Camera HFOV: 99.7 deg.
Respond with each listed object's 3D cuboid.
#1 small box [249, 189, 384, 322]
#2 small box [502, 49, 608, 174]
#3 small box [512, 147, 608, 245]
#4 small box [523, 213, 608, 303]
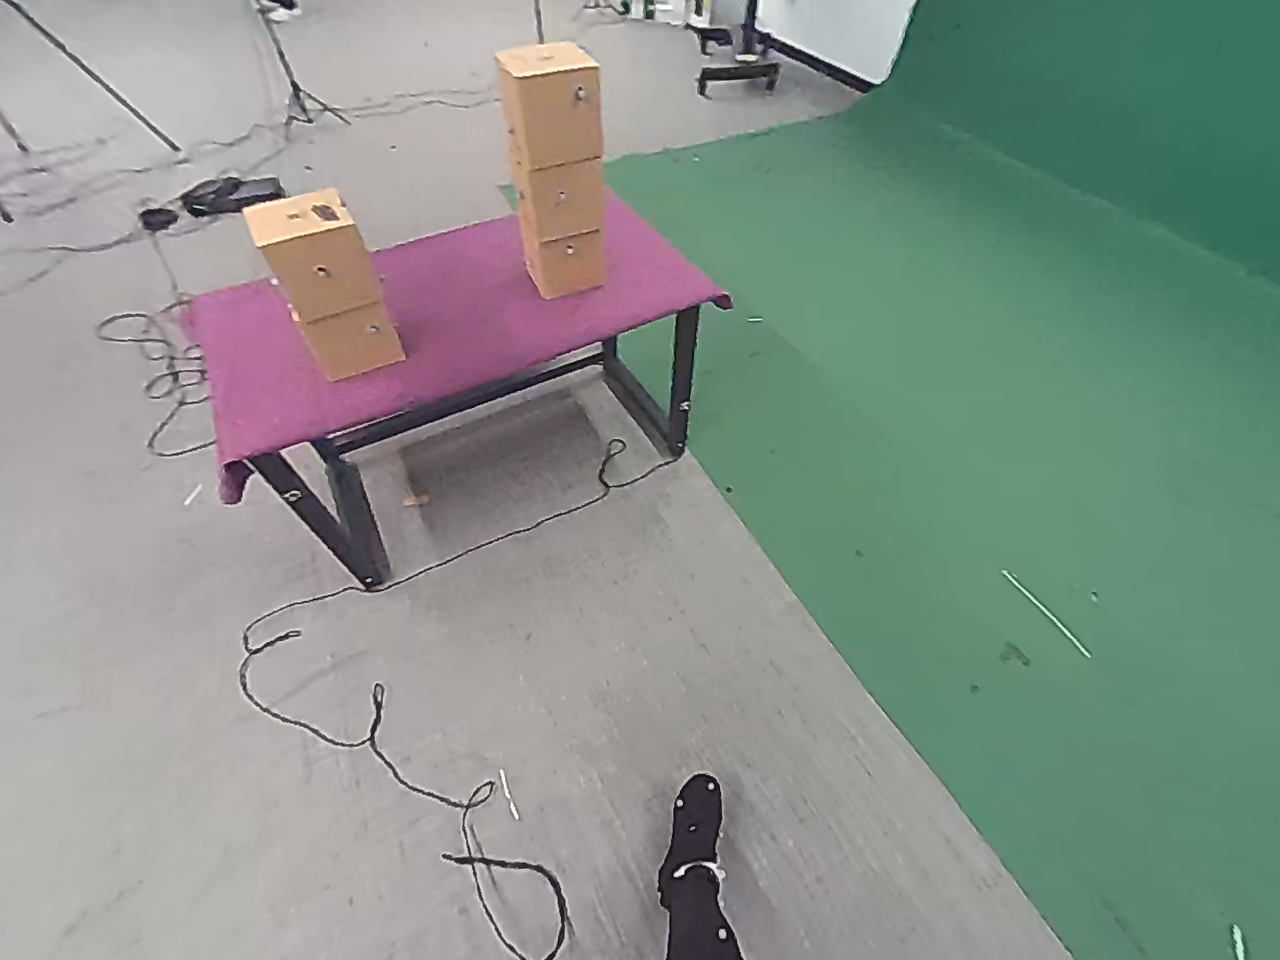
[{"bbox_3d":[-0.641,-0.451,1.092,0.179,0.176,0.168,-25,58,-19],"label":"small box"},{"bbox_3d":[-0.176,-0.784,1.153,0.179,0.176,0.168,-19,56,-14],"label":"small box"},{"bbox_3d":[-0.185,-0.686,1.287,0.179,0.176,0.168,-19,57,-14],"label":"small box"},{"bbox_3d":[-0.194,-0.597,1.424,0.179,0.176,0.168,-19,57,-14],"label":"small box"}]
